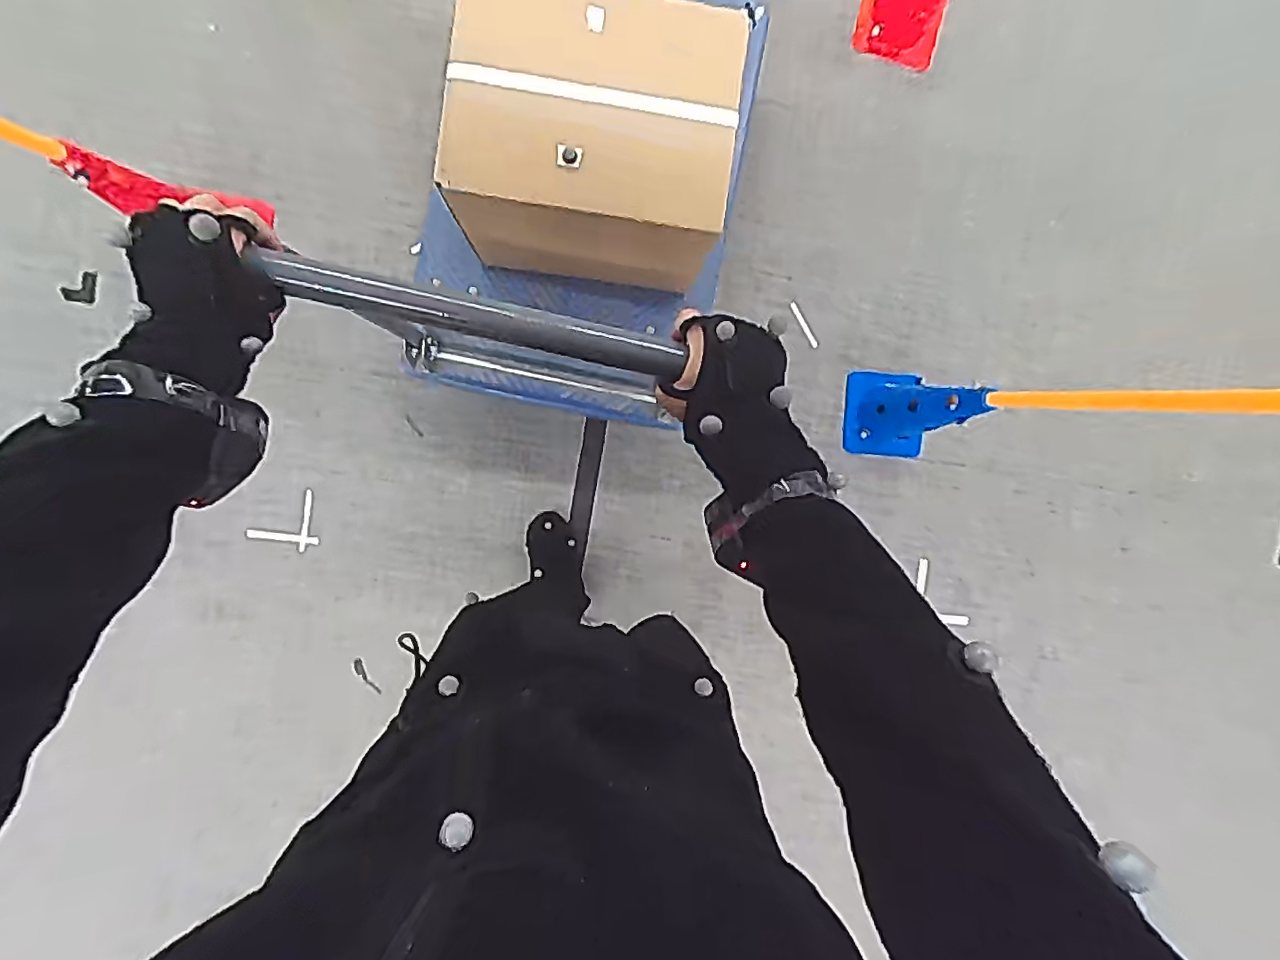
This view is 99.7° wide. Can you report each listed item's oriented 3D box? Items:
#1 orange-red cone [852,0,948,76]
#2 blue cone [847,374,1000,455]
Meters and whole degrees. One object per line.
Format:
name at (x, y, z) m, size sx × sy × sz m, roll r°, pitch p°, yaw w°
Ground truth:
orange-red cone at (0.627, -1.065, 1.103) m, size 0.199 × 0.360 × 0.198 m, roll 15°, pitch 92°, yaw -6°
blue cone at (0.612, -0.155, 1.154) m, size 0.193 × 0.380 × 0.192 m, roll 5°, pitch 91°, yaw -6°
